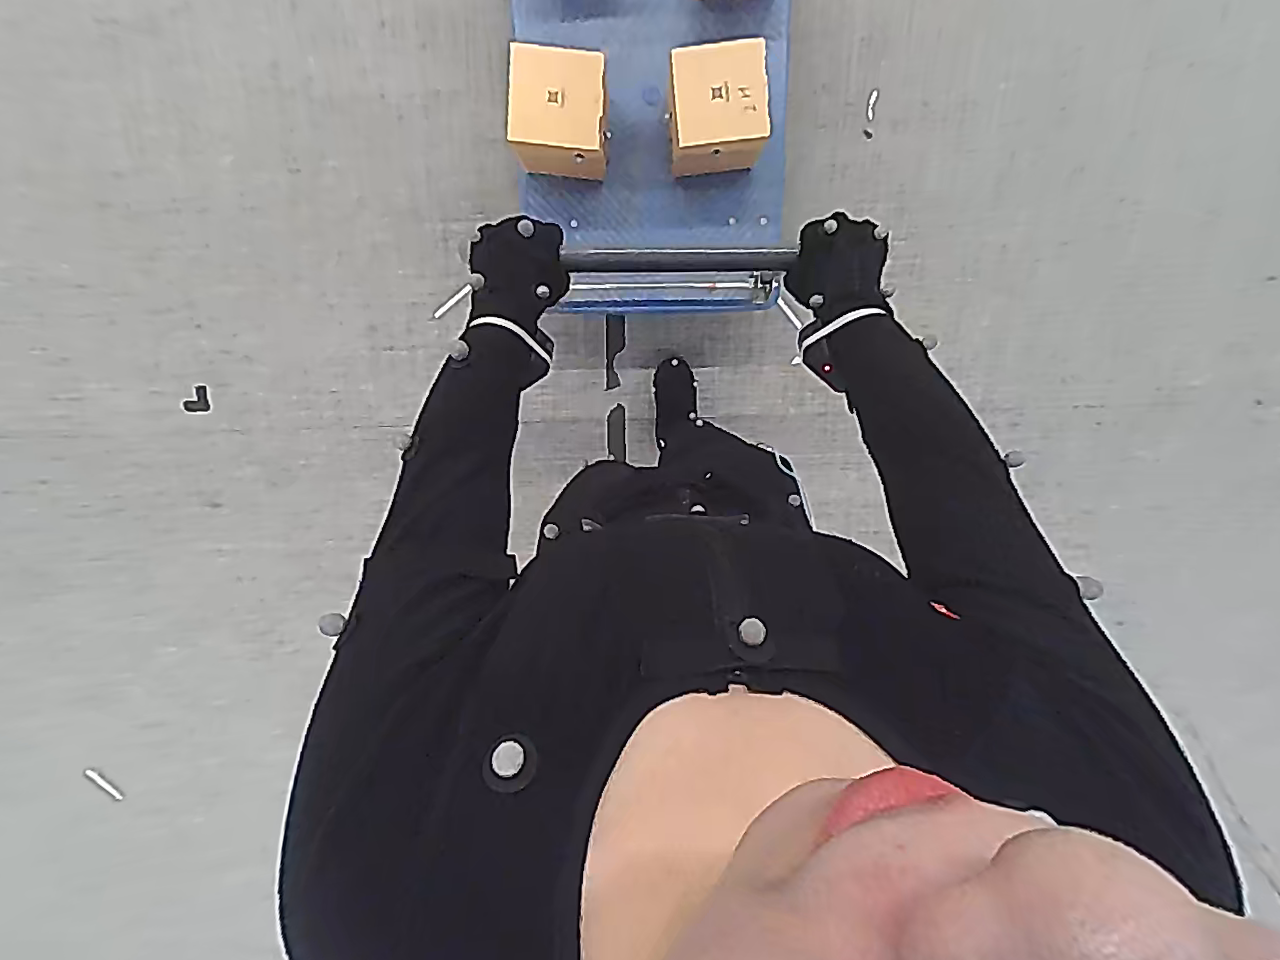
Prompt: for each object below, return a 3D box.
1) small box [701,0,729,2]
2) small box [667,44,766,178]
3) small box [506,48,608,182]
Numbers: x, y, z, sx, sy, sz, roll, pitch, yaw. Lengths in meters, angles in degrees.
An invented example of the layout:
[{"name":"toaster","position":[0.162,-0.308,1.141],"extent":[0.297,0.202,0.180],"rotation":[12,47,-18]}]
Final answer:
[{"name":"small box","position":[0.187,-1.055,1.016],"extent":[0.168,0.176,0.179],"rotation":[-4,103,1]},{"name":"small box","position":[0.146,-0.727,1.086],"extent":[0.179,0.176,0.168],"rotation":[-6,102,1]},{"name":"small box","position":[-0.161,-0.720,1.086],"extent":[0.179,0.176,0.168],"rotation":[5,101,-3]}]
